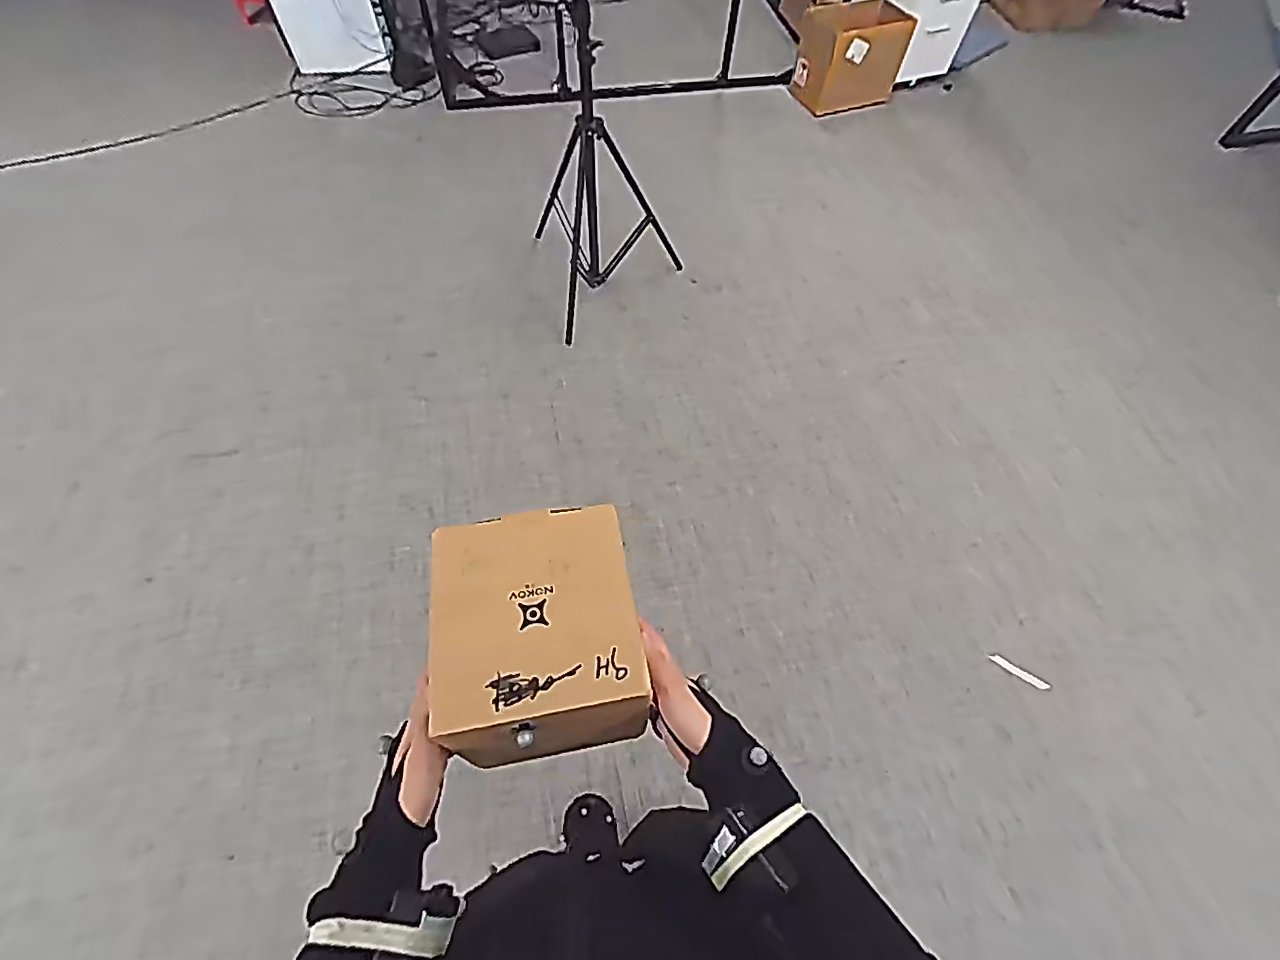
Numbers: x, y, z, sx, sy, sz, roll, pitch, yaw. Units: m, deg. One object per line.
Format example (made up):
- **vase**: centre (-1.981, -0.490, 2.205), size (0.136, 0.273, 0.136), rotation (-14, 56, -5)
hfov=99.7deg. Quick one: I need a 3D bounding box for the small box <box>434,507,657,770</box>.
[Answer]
- **small box**: centre (-0.085, 0.150, 0.508), size (0.168, 0.176, 0.179), rotation (-8, 55, -8)
